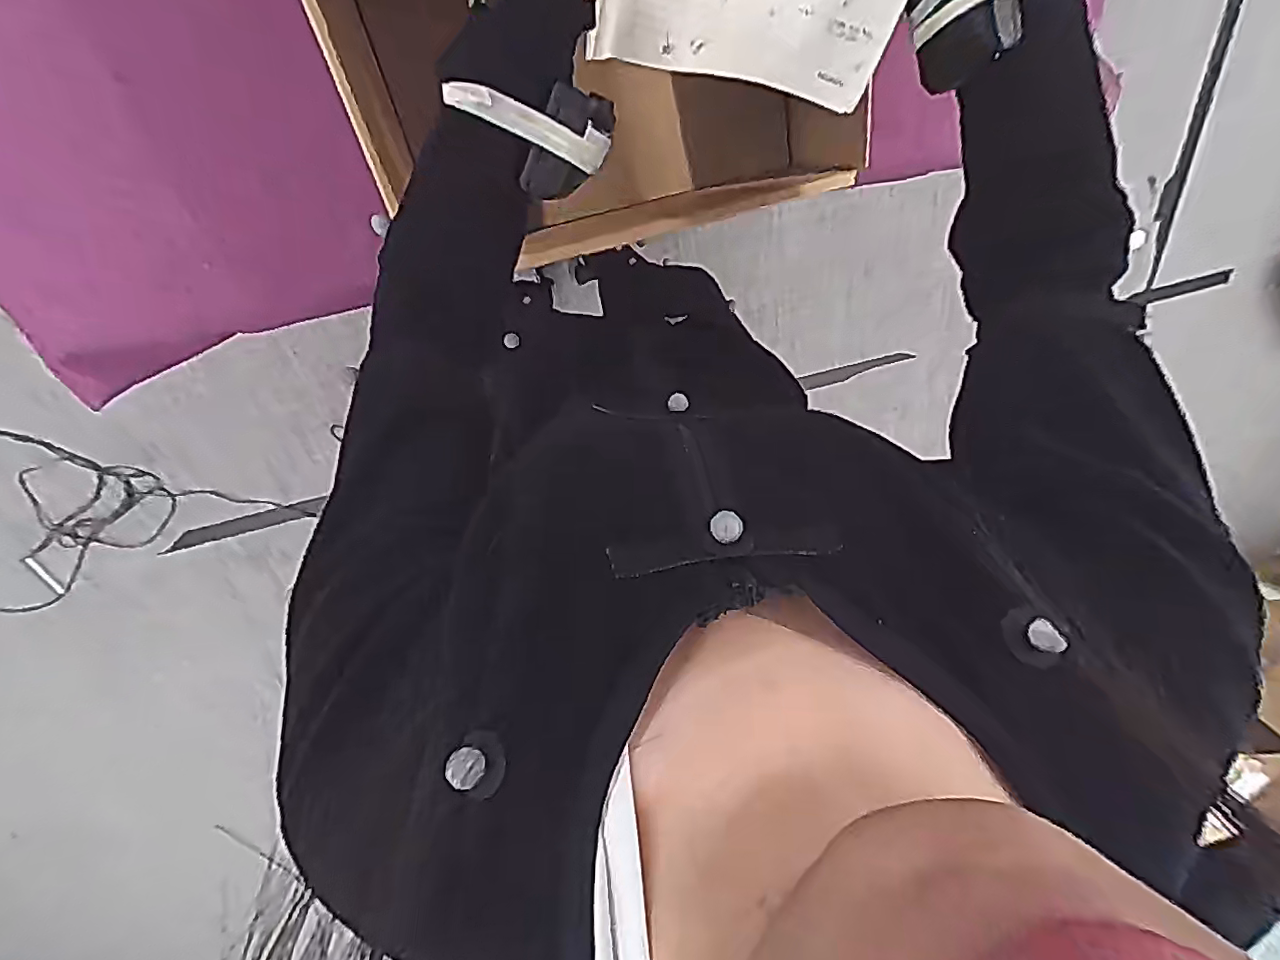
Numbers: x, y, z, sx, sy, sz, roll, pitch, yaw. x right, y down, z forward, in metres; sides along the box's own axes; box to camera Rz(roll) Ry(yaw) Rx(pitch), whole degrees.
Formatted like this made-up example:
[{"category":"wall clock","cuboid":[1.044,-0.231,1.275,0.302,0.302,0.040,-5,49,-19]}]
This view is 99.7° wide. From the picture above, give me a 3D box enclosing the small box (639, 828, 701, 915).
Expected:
[{"category":"small box","cuboid":[0.098,1.338,1.855,0.179,0.176,0.168,-13,124,-8]}]
